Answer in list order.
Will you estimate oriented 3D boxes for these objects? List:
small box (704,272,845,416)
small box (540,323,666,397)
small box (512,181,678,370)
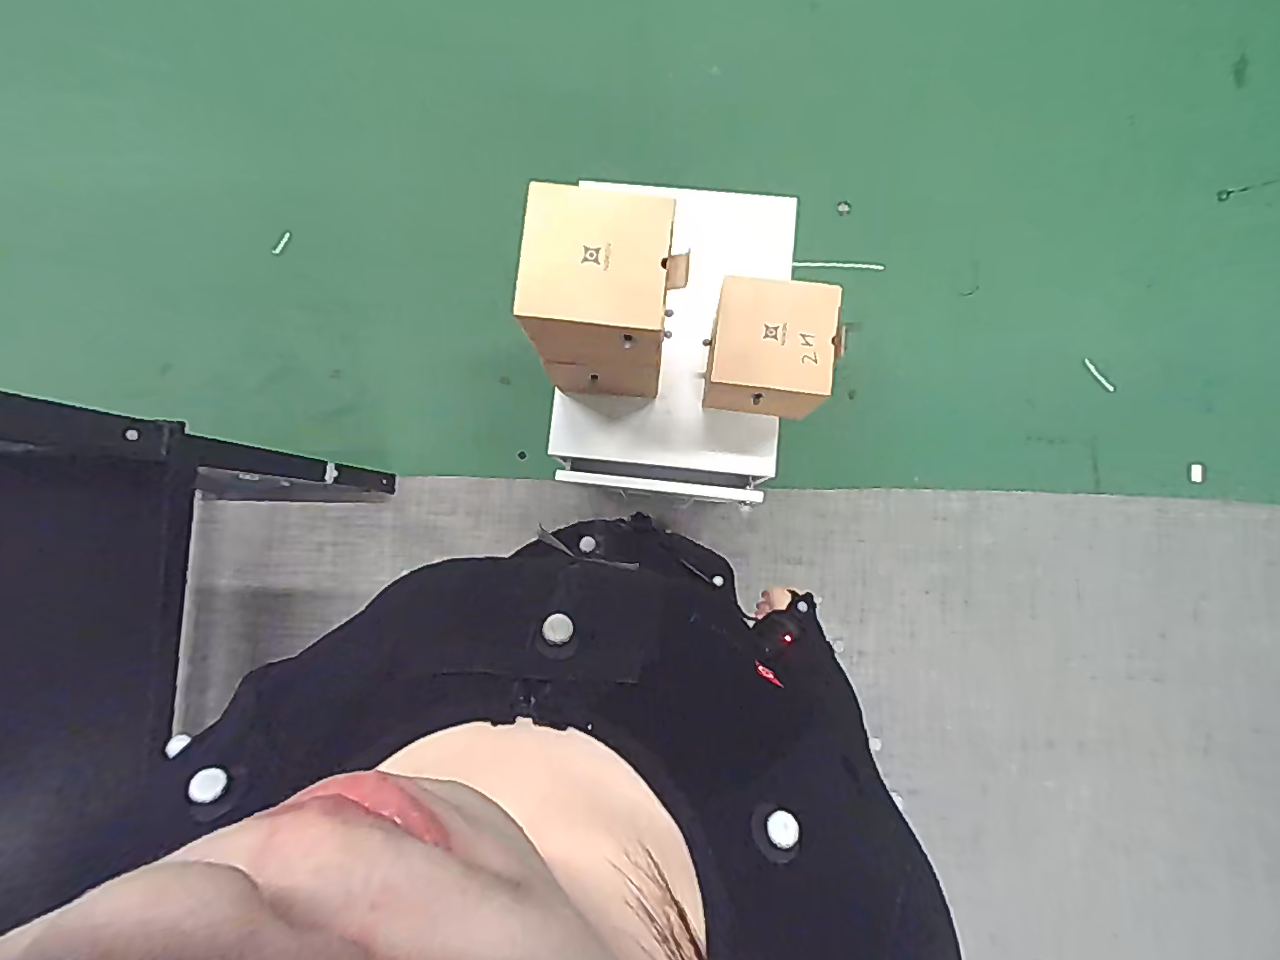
[{"bbox_3d":[0.199,-0.202,0.848,0.179,0.176,0.168,8,86,2],"label":"small box"},{"bbox_3d":[-0.049,-0.234,0.858,0.179,0.176,0.168,4,85,1],"label":"small box"},{"bbox_3d":[-0.050,-0.249,0.695,0.179,0.176,0.168,6,85,0],"label":"small box"}]
